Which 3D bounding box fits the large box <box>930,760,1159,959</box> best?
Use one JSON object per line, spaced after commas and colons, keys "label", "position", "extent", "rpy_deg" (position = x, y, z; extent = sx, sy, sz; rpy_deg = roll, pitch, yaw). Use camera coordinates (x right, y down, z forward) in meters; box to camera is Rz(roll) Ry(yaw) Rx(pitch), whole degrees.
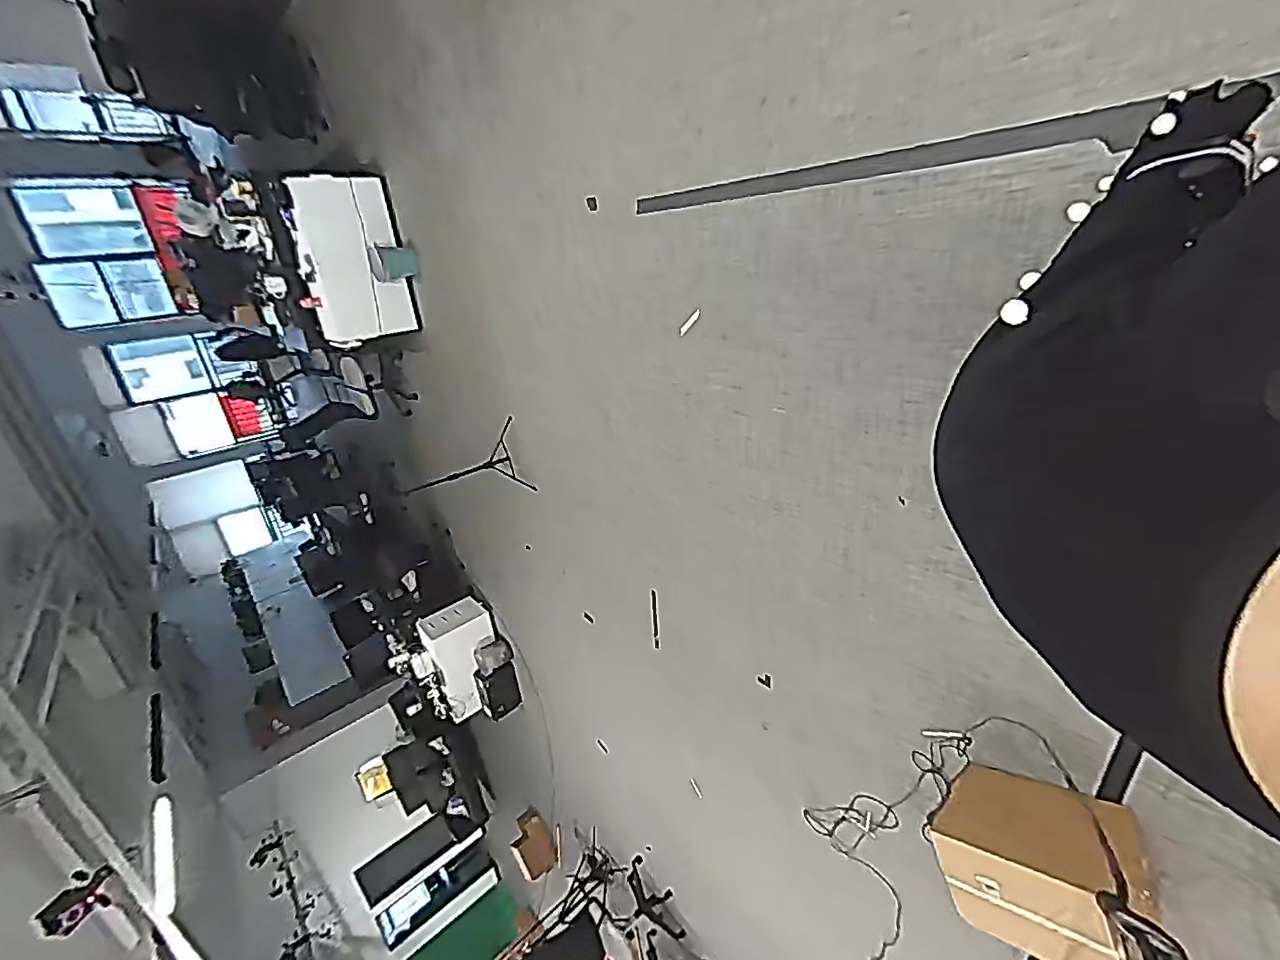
{"label": "large box", "position": [1.120, 1.062, 1.513], "extent": [0.408, 0.320, 0.320], "rpy_deg": [-13, 99, 55]}
